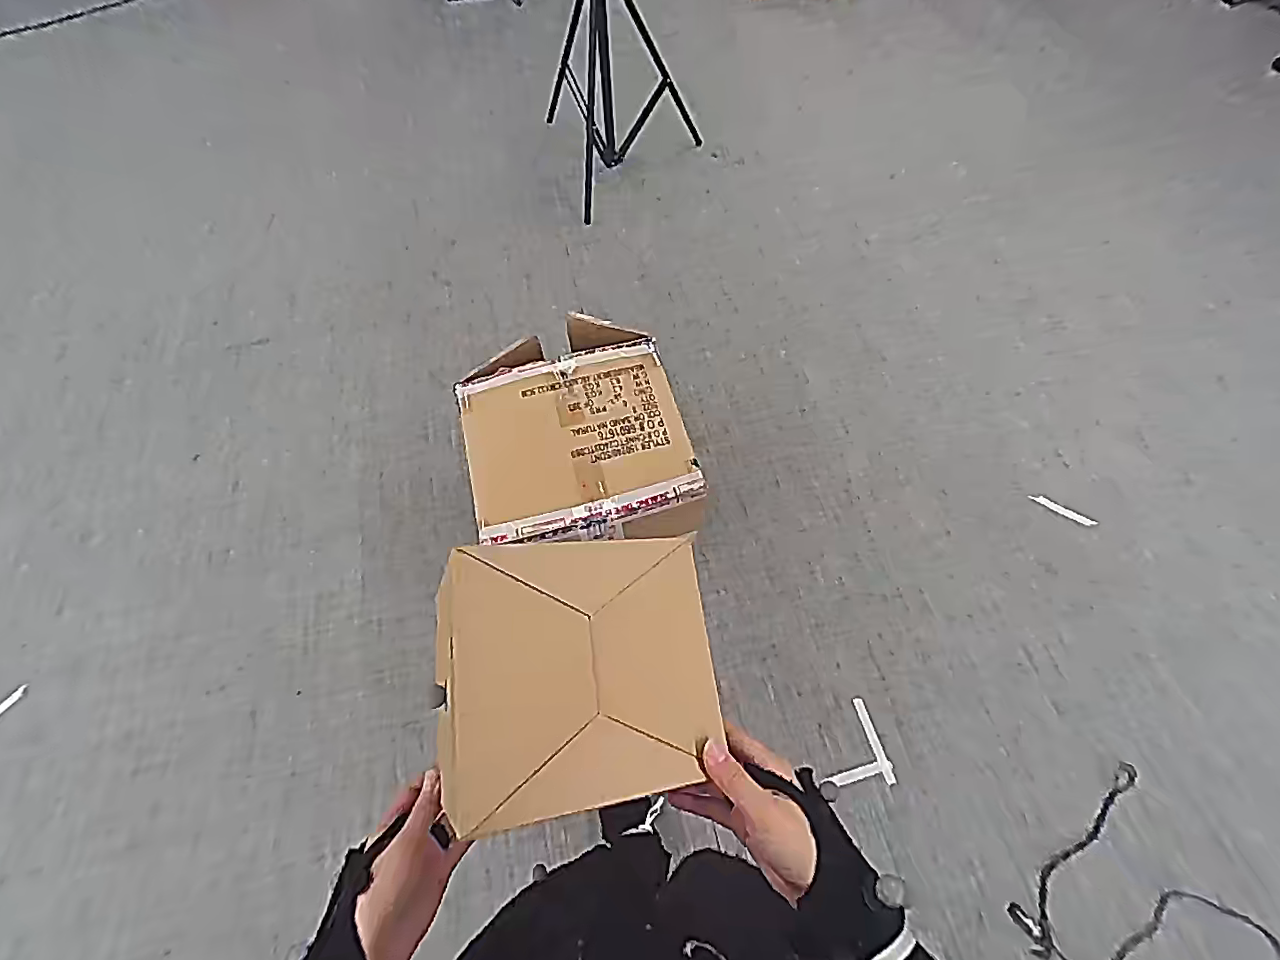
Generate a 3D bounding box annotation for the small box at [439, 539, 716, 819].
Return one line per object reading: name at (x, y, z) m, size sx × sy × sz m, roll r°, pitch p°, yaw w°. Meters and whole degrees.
small box at (-0.061, 0.149, 0.429) m, size 0.179 × 0.176 × 0.168 m, roll 1°, pitch 68°, yaw -24°
